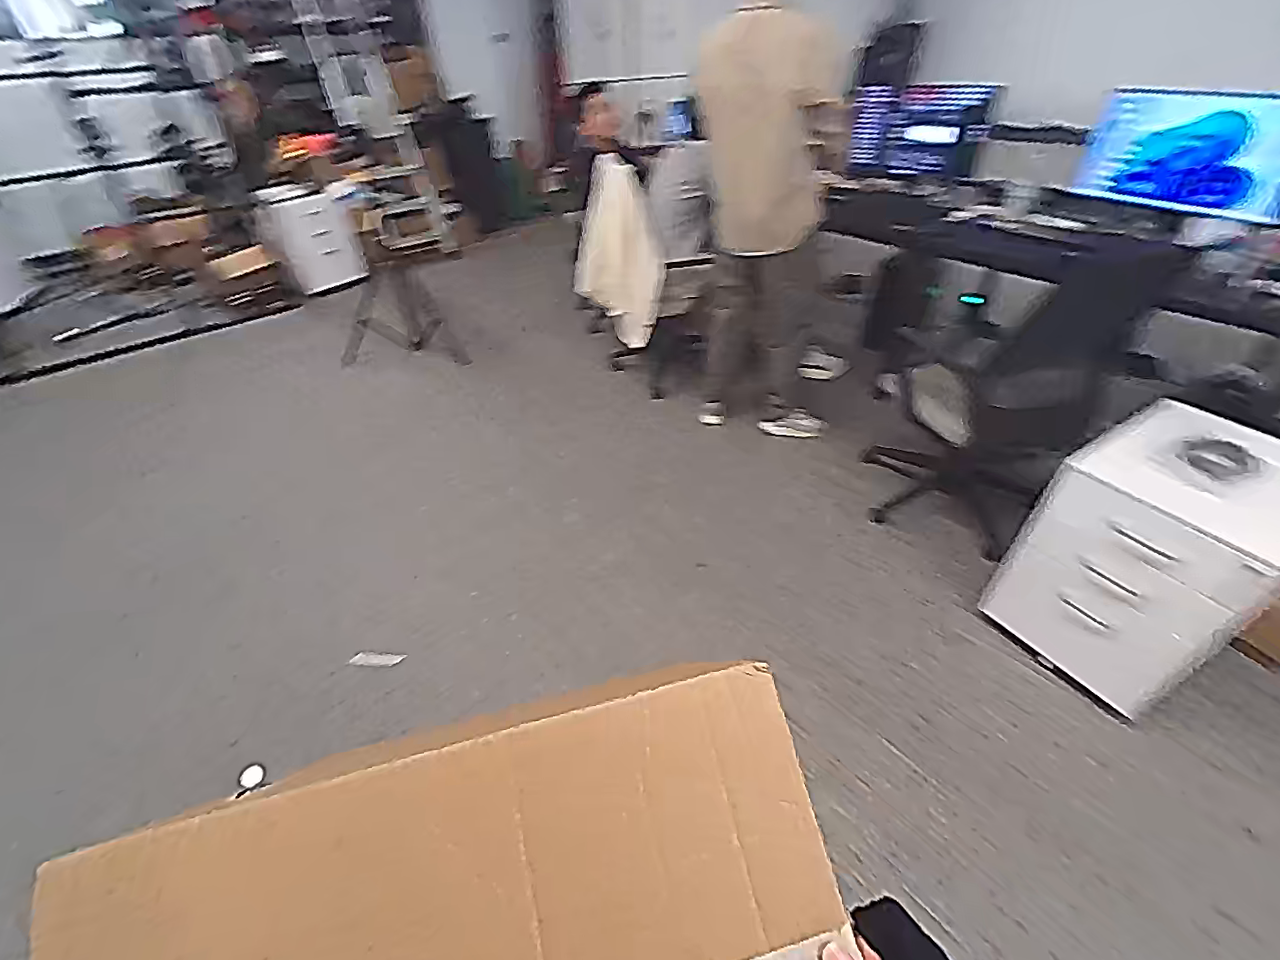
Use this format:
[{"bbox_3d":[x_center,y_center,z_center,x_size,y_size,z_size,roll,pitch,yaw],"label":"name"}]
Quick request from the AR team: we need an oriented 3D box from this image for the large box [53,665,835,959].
[{"bbox_3d":[-0.097,0.355,0.419,0.408,0.320,0.320,-13,74,-10],"label":"large box"}]
